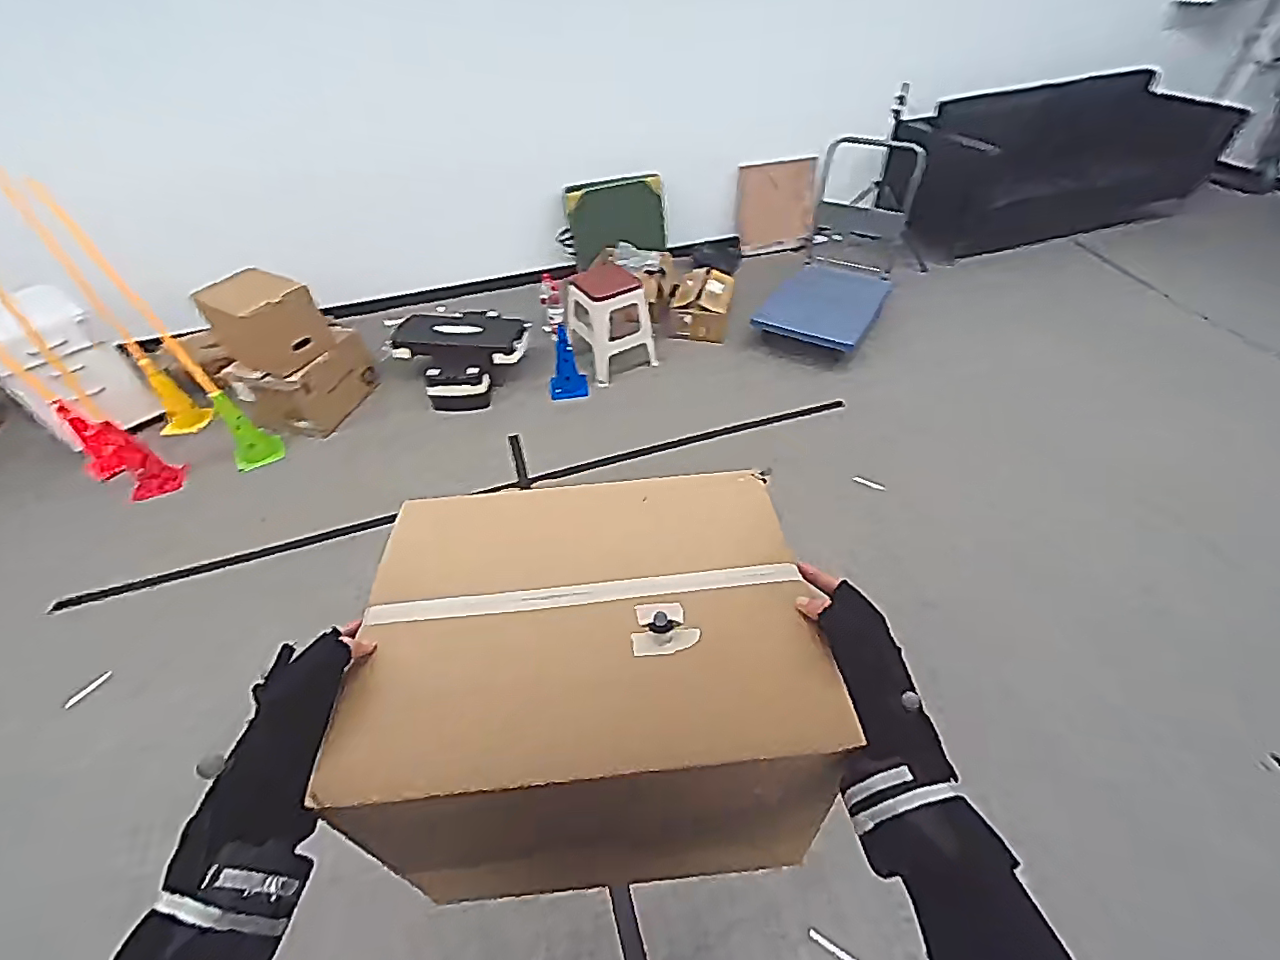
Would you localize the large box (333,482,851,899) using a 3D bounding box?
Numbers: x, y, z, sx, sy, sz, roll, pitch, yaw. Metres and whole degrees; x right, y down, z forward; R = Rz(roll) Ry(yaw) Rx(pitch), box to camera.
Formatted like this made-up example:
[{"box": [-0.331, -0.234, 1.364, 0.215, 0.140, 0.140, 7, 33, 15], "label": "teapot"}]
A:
[{"box": [-0.041, 0.230, 0.615, 0.408, 0.320, 0.320, -5, 42, -2], "label": "large box"}]
